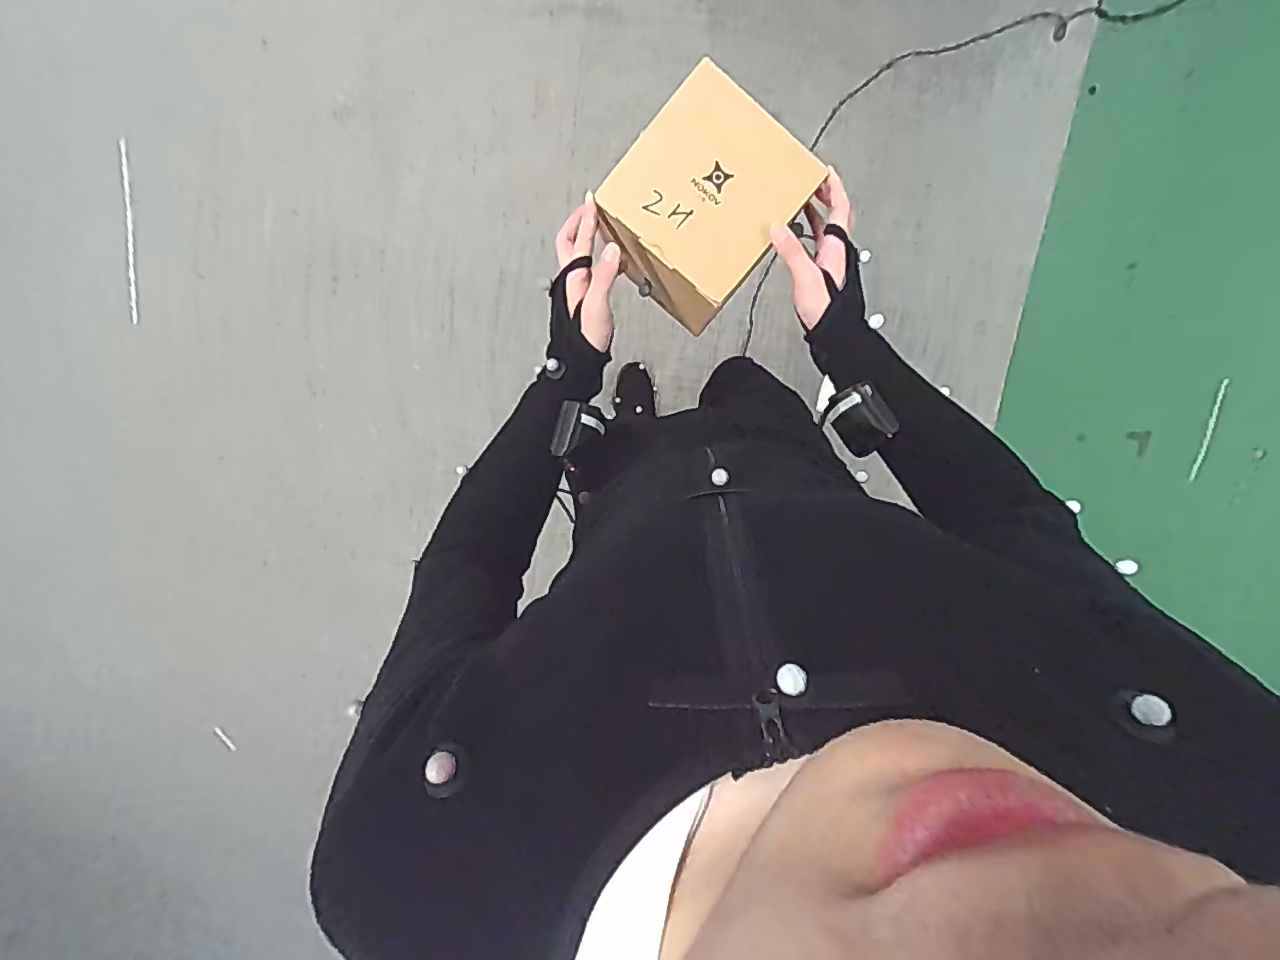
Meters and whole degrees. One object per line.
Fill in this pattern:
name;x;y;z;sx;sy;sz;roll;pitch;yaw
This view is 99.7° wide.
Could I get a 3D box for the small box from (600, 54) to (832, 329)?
small box;0.071;-0.300;0.607;0.168;0.176;0.179;41;91;-3
